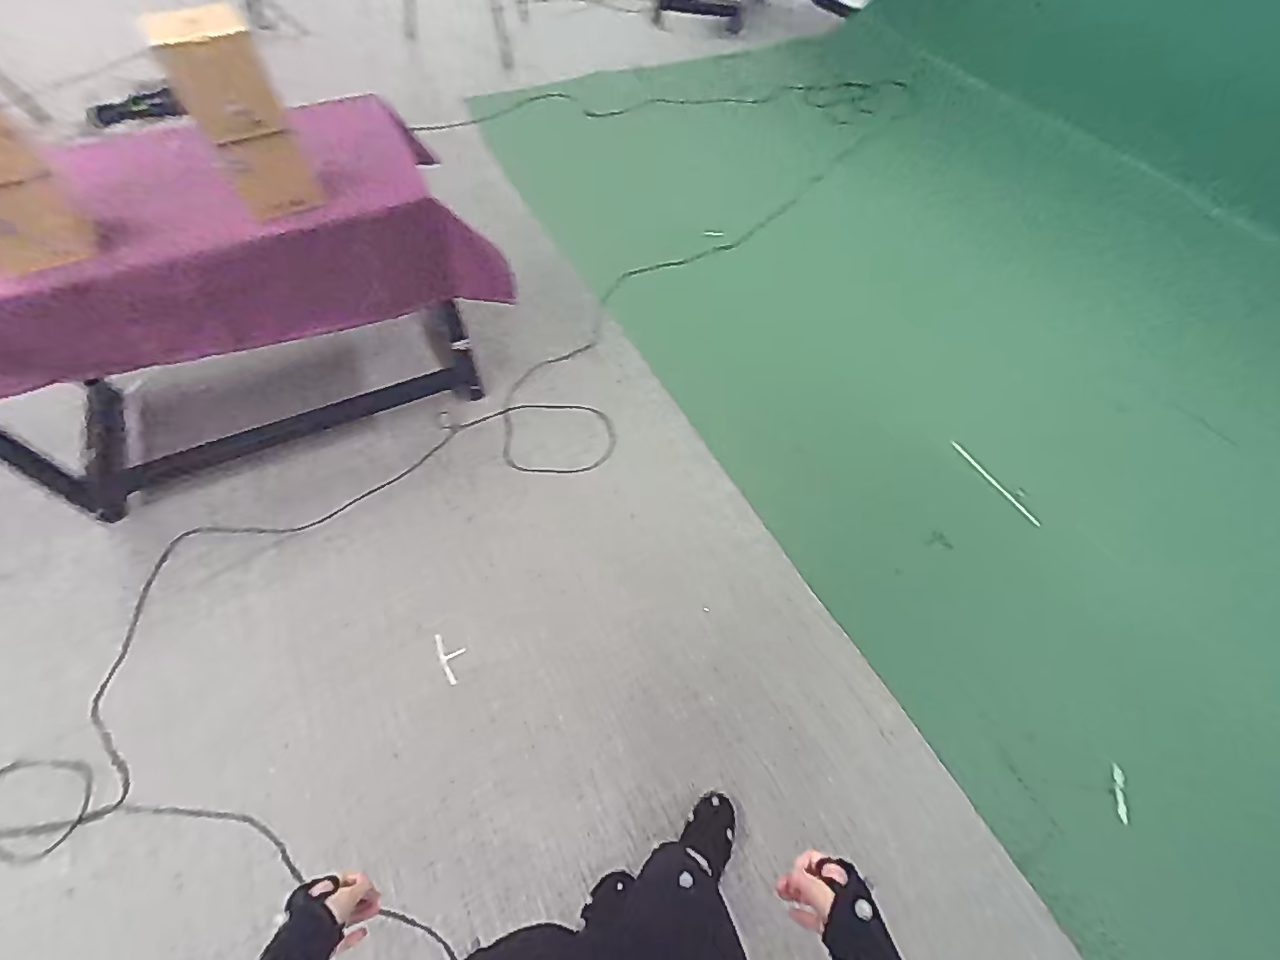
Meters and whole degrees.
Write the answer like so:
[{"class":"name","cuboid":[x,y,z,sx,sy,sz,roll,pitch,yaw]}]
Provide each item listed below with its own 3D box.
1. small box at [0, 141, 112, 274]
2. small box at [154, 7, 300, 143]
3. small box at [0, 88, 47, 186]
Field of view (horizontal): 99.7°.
[{"class":"small box","cuboid":[-1.243,-0.551,1.103,0.179,0.176,0.168,-25,61,-17]},{"class":"small box","cuboid":[-0.827,-0.816,1.092,0.168,0.176,0.179,-26,61,-17]},{"class":"small box","cuboid":[-1.237,-0.637,0.965,0.179,0.176,0.168,-24,60,-18]}]
